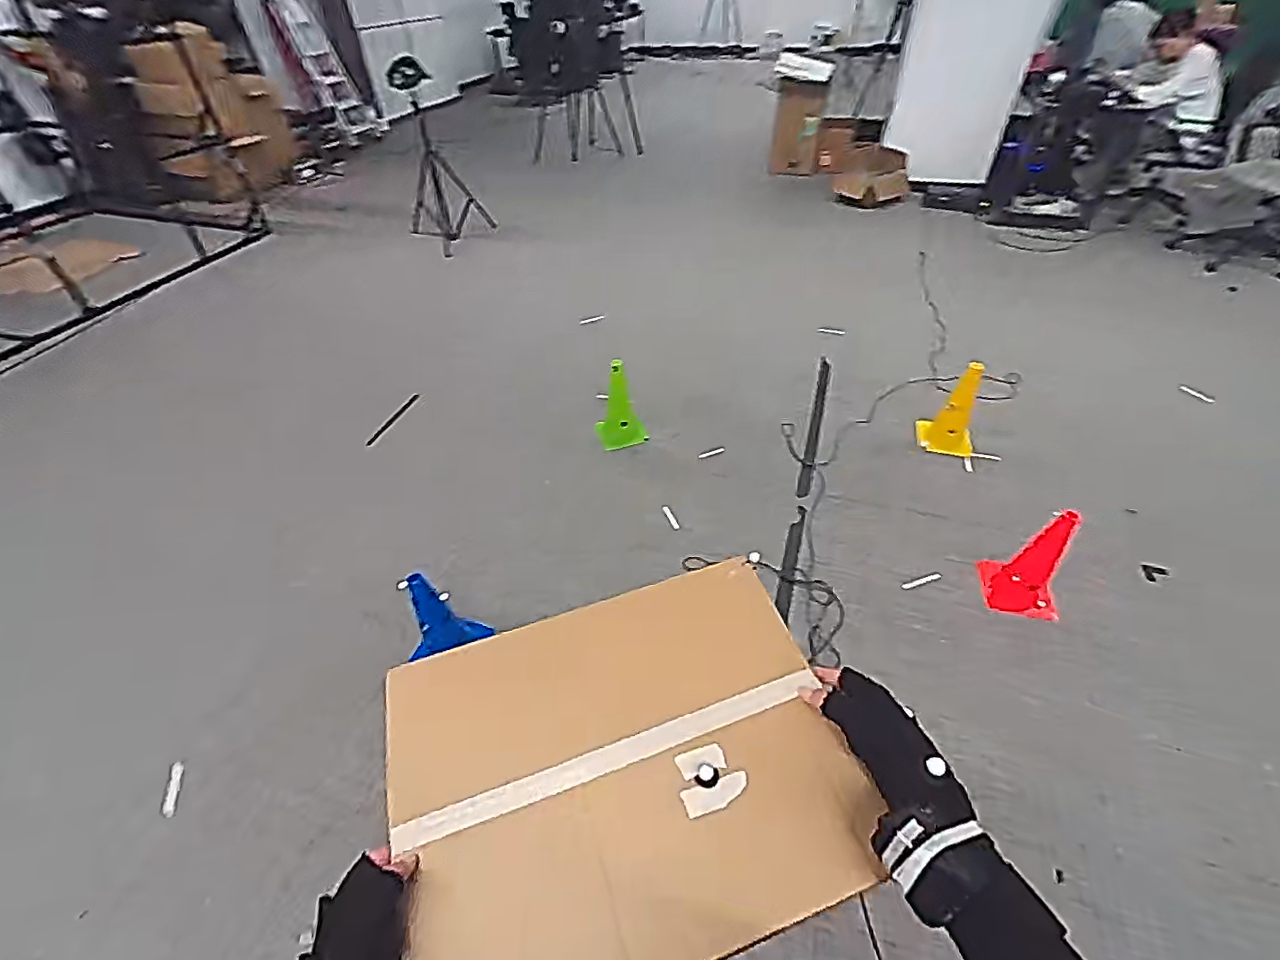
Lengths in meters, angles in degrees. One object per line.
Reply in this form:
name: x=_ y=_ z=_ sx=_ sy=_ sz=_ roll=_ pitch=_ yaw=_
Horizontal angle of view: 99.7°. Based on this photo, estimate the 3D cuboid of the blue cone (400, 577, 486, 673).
blue cone: x=-0.590 y=0.403 z=1.534 sx=0.192 sy=0.380 sz=0.193 roll=13 pitch=46 yaw=17

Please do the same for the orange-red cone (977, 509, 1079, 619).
orange-red cone: x=1.189 y=0.219 z=1.607 sx=0.198 sy=0.360 sz=0.199 roll=10 pitch=44 yaw=12

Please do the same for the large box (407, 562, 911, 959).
large box: x=-0.003 y=0.353 z=0.612 sx=0.408 sy=0.320 sz=0.320 roll=-15 pitch=49 yaw=-10

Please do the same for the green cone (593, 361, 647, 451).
green cone: x=-0.099 y=-0.330 z=2.243 sx=0.202 sy=0.368 sz=0.200 roll=-16 pitch=45 yaw=-11
